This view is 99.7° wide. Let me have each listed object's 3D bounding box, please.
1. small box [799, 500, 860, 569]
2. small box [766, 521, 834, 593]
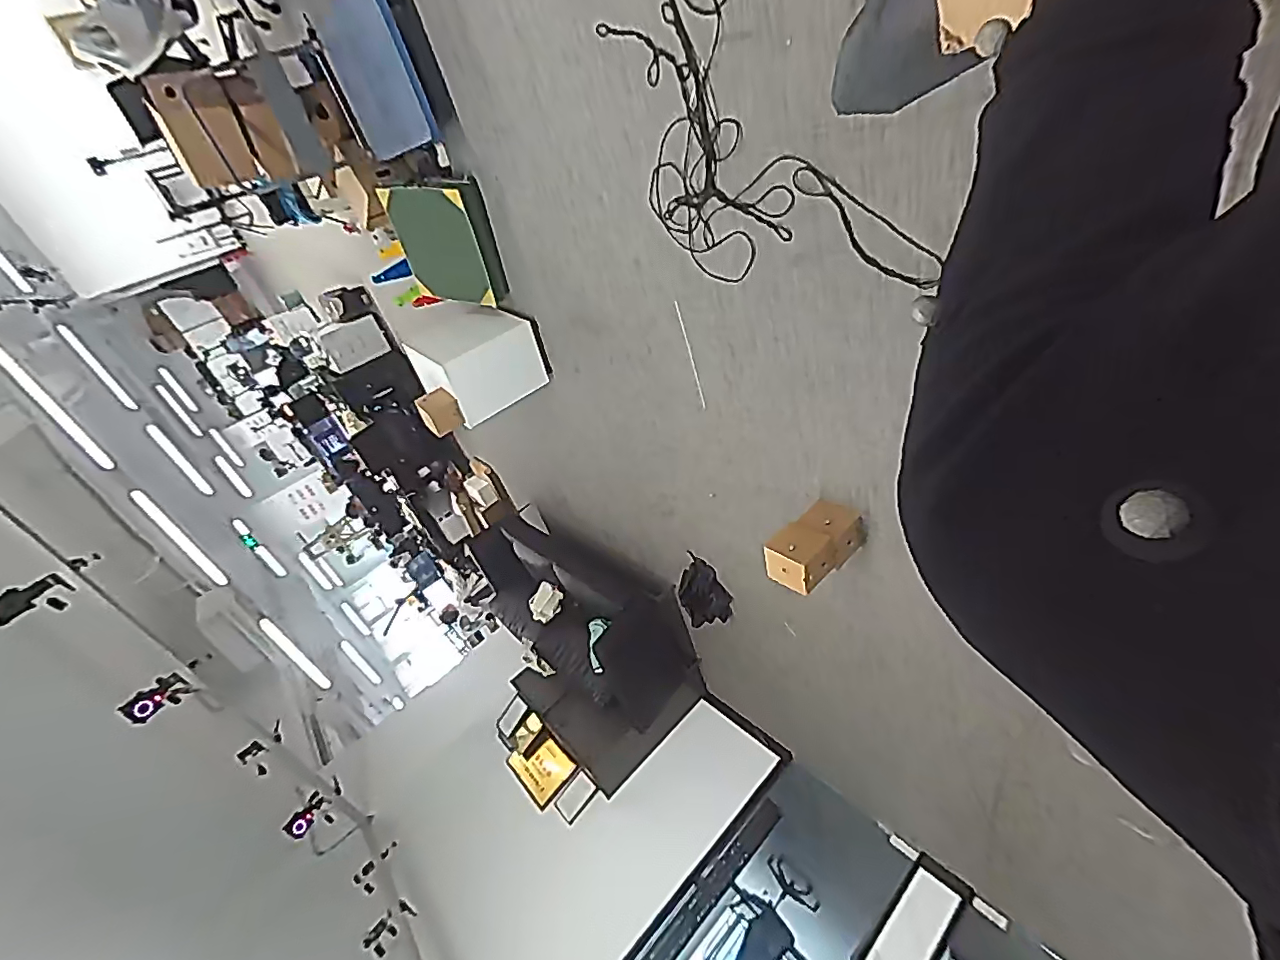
[{"bbox_3d":[0.722,0.202,2.059,0.179,0.176,0.168,24,142,44],"label":"small box"},{"bbox_3d":[0.592,0.277,1.992,0.179,0.176,0.168,25,142,44],"label":"small box"}]
